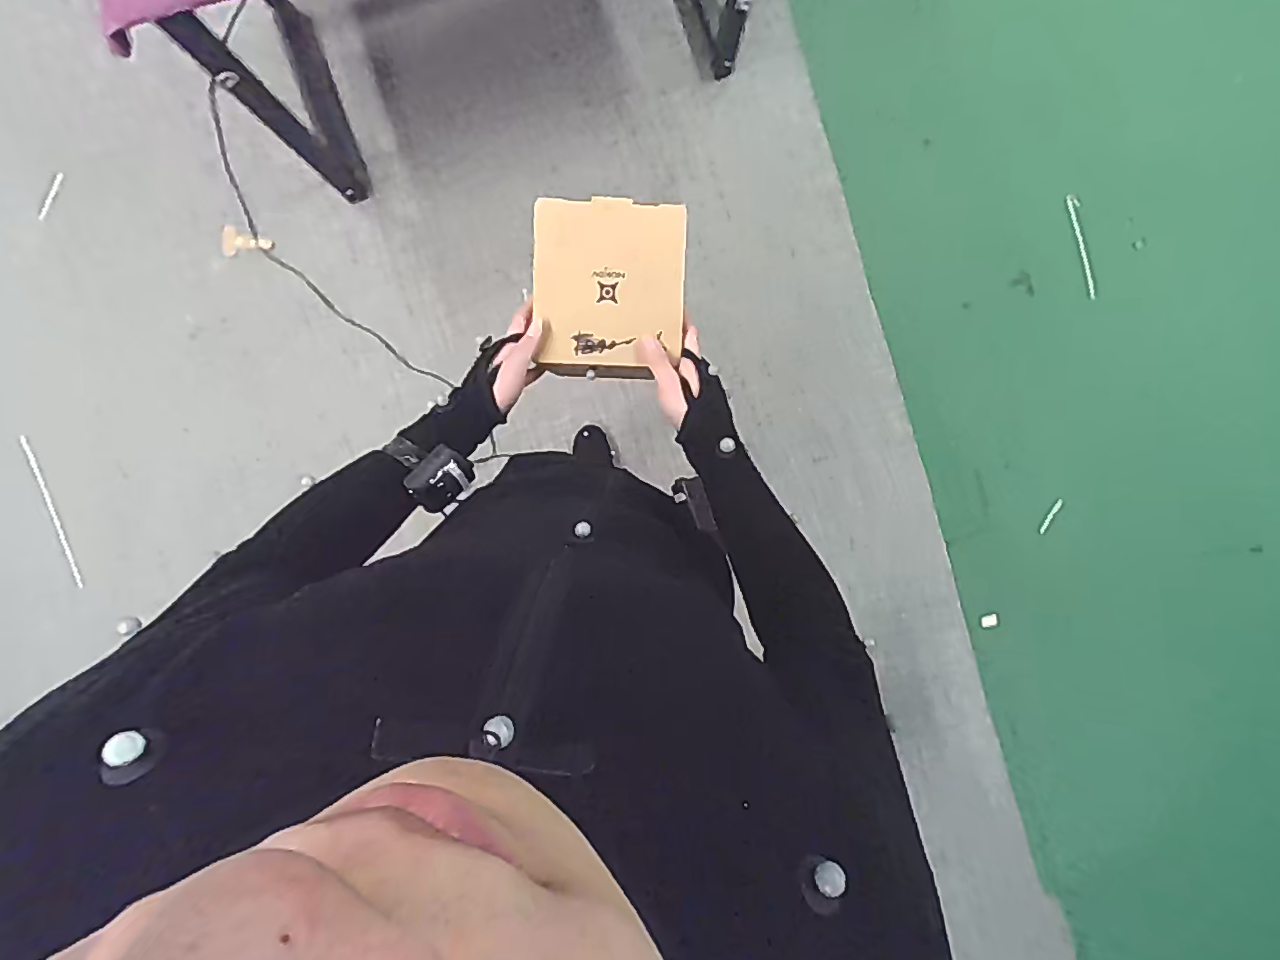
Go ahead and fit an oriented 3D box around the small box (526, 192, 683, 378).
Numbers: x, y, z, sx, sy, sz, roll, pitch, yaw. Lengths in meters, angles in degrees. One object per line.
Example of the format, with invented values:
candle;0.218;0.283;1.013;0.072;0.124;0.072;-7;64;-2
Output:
small box;-0.042;-0.224;0.663;0.168;0.176;0.179;2;96;-2
